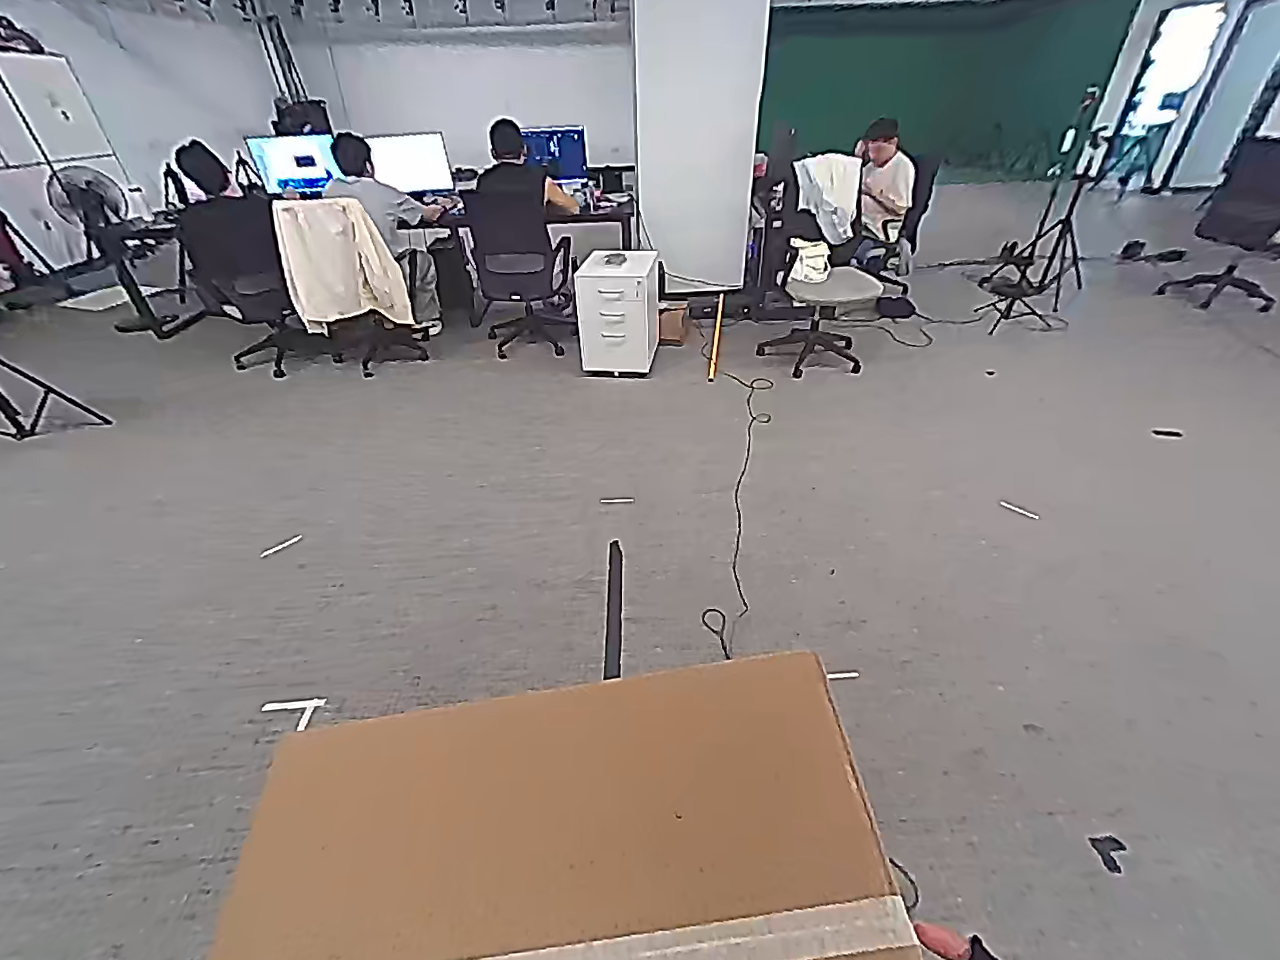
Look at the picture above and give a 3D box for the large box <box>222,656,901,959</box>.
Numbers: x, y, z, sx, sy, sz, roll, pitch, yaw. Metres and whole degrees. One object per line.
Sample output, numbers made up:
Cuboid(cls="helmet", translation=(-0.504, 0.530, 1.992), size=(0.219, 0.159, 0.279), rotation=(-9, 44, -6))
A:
Cuboid(cls="large box", translation=(-0.033, 0.374, 0.416), size=(0.408, 0.320, 0.320), rotation=(-10, 47, 2))
